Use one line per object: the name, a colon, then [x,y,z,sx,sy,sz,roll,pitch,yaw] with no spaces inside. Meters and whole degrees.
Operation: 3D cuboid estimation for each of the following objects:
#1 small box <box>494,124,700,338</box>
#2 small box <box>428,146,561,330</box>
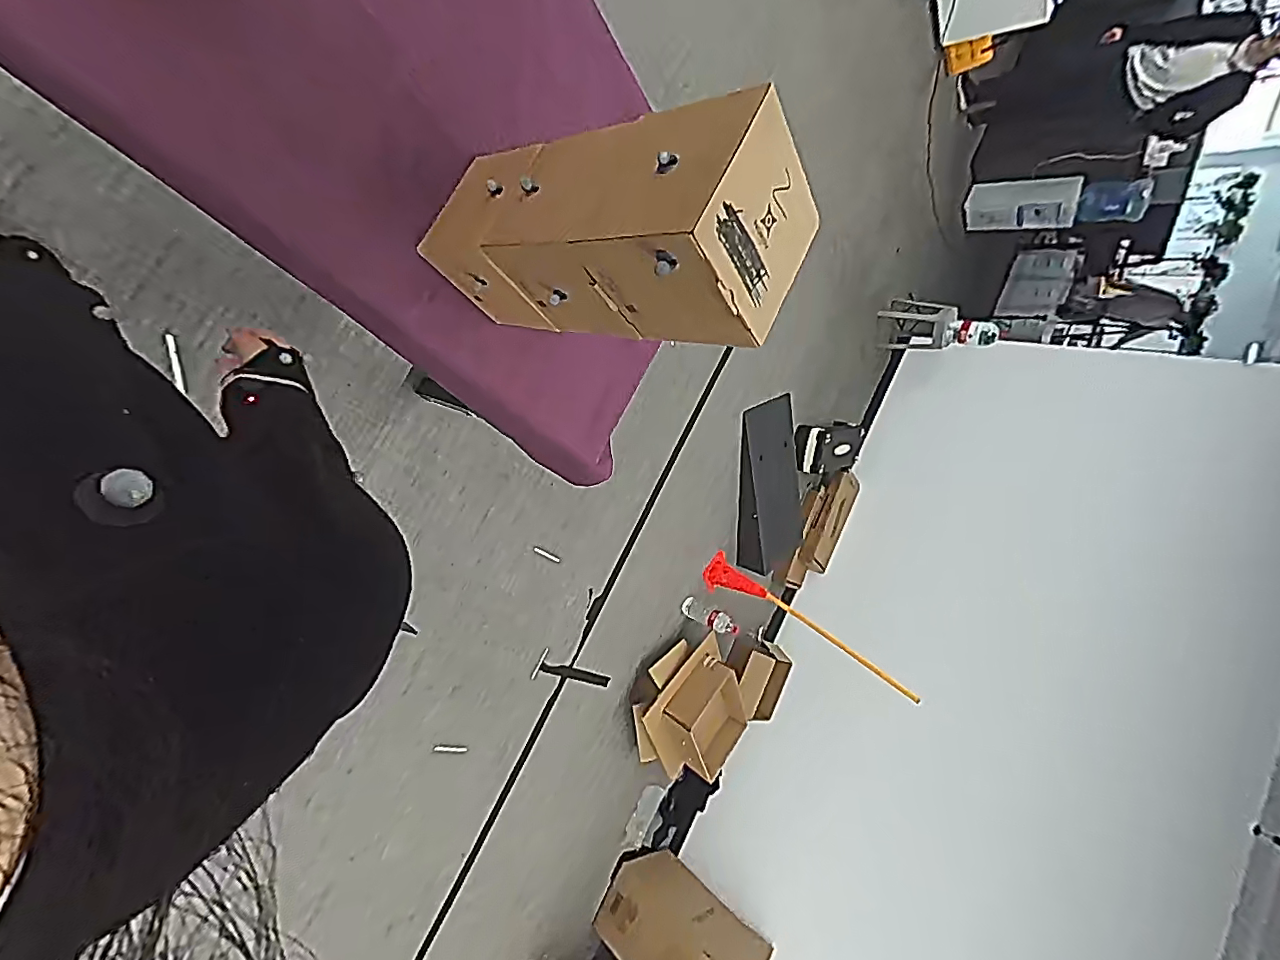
small box: [-0.059,-0.307,0.693,0.168,0.176,0.179,41,74,-49]
small box: [-0.181,-0.345,0.795,0.168,0.176,0.179,39,74,-49]
